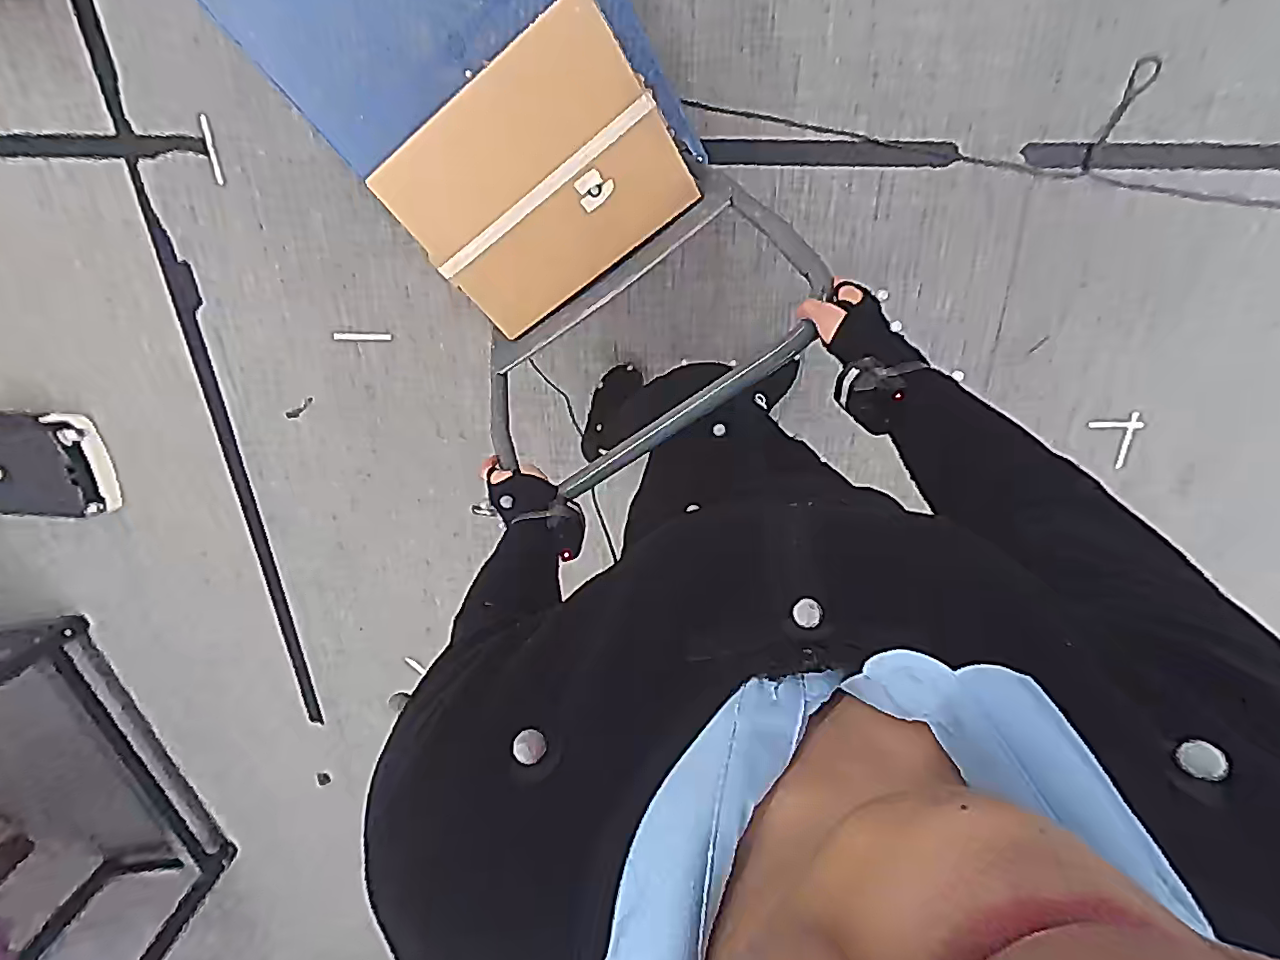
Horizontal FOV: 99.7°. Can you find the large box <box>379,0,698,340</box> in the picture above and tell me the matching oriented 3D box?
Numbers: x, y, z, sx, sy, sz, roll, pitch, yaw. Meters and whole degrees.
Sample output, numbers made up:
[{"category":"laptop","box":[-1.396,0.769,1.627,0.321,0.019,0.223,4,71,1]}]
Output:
[{"category":"large box","box":[-0.172,-0.531,0.952,0.408,0.320,0.320,-34,127,13]}]
